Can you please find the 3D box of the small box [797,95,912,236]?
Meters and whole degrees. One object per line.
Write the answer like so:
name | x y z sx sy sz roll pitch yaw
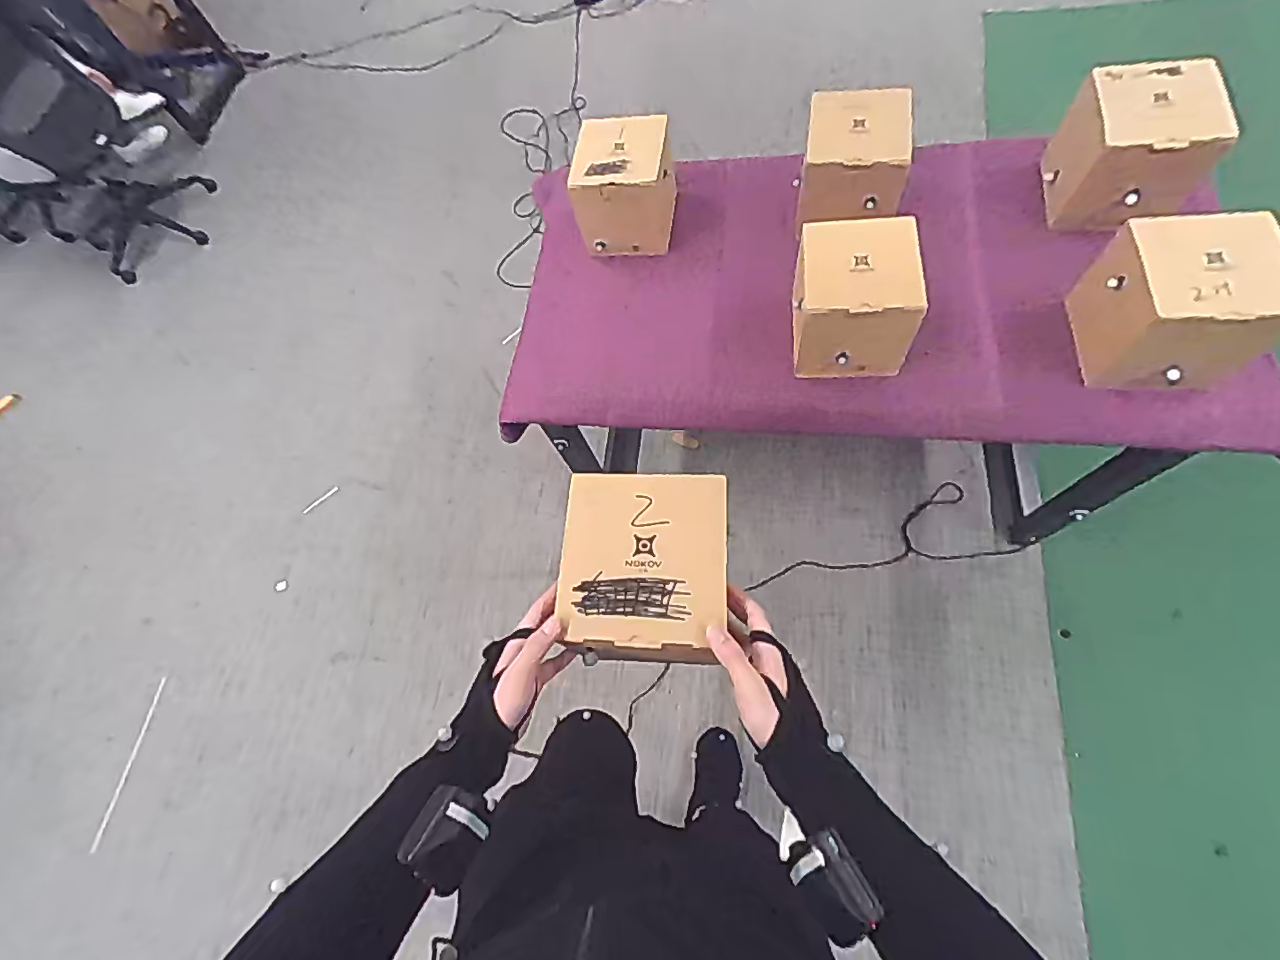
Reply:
small box | 0.382 -0.556 0.983 0.168 0.176 0.179 7 69 12

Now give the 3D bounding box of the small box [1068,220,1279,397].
small box | 0.758 -0.241 0.778 0.168 0.176 0.179 3 67 13

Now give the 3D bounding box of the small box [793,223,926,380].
small box | 0.340 -0.282 0.874 0.168 0.176 0.179 1 67 10

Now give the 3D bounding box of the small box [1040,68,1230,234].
small box | 0.799 -0.532 0.895 0.168 0.176 0.179 5 71 12

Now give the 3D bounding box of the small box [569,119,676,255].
small box | -0.024 -0.561 1.054 0.168 0.176 0.179 4 68 11
